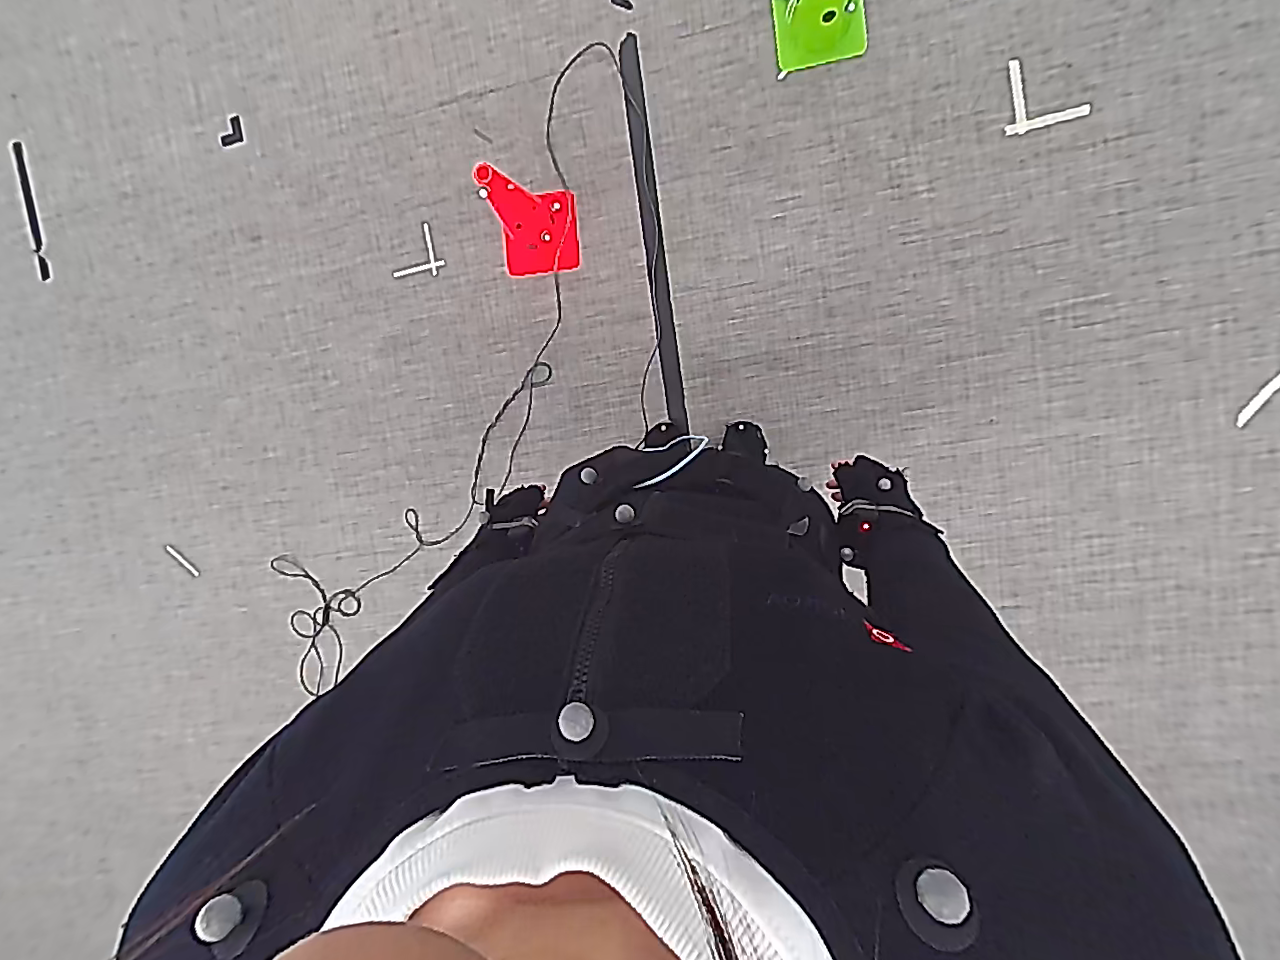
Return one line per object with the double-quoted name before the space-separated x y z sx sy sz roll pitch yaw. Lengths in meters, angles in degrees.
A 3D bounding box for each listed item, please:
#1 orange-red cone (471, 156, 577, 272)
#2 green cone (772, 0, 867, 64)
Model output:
"orange-red cone" -0.288 -0.629 1.229 0.199 0.360 0.198 -3 95 10
"green cone" 0.388 -1.057 1.074 0.202 0.368 0.200 -8 95 8
